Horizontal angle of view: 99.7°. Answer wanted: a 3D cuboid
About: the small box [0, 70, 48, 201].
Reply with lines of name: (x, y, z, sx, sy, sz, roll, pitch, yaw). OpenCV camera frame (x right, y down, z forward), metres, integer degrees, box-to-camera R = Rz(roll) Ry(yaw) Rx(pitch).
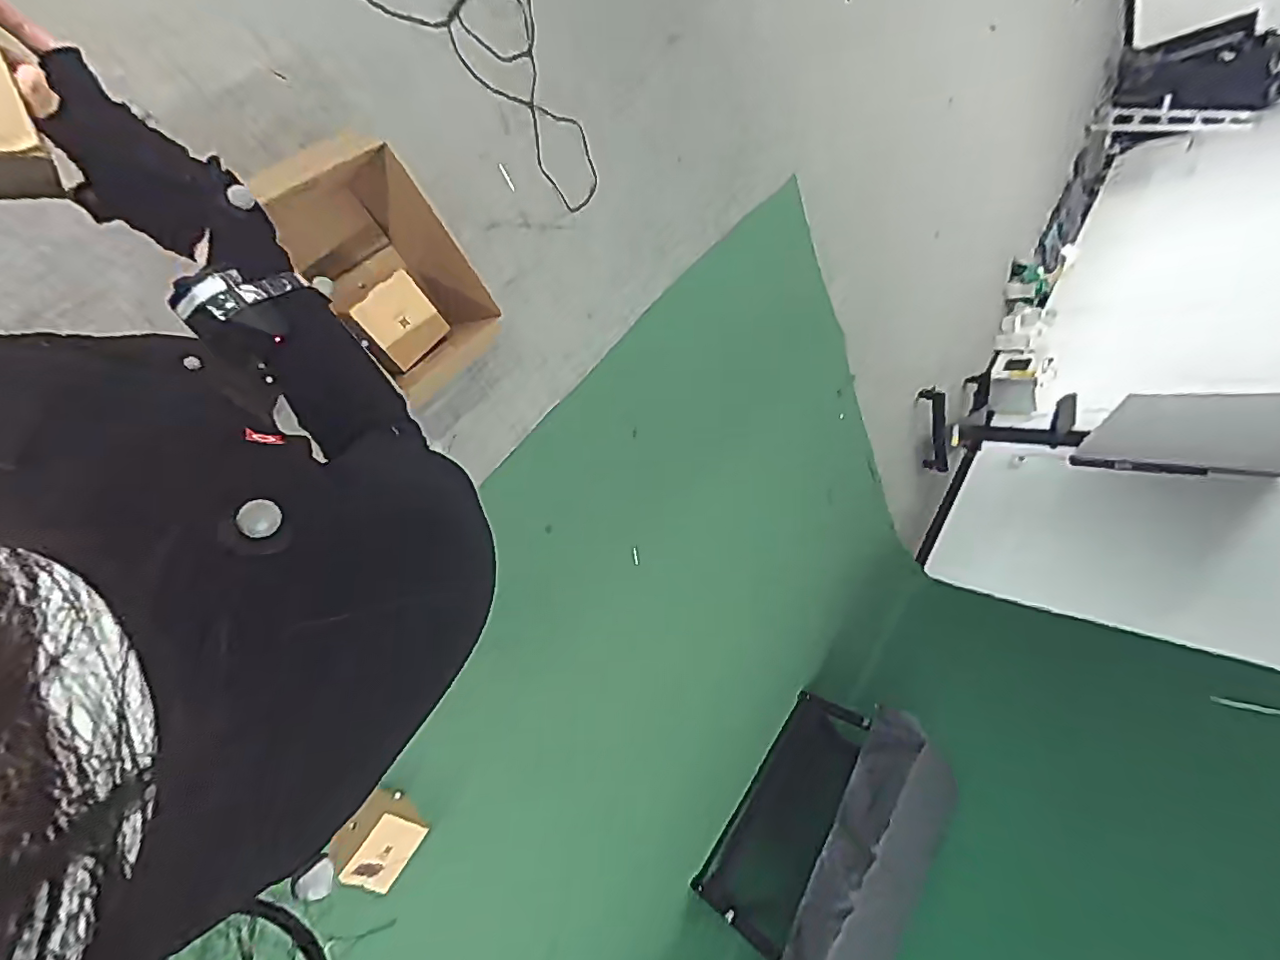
small box: (-0.466, -0.254, 0.281, 0.168, 0.176, 0.179, -25, 119, -36)

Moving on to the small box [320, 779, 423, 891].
small box: (-0.745, 0.971, 1.488, 0.179, 0.176, 0.168, -54, 130, -23)
